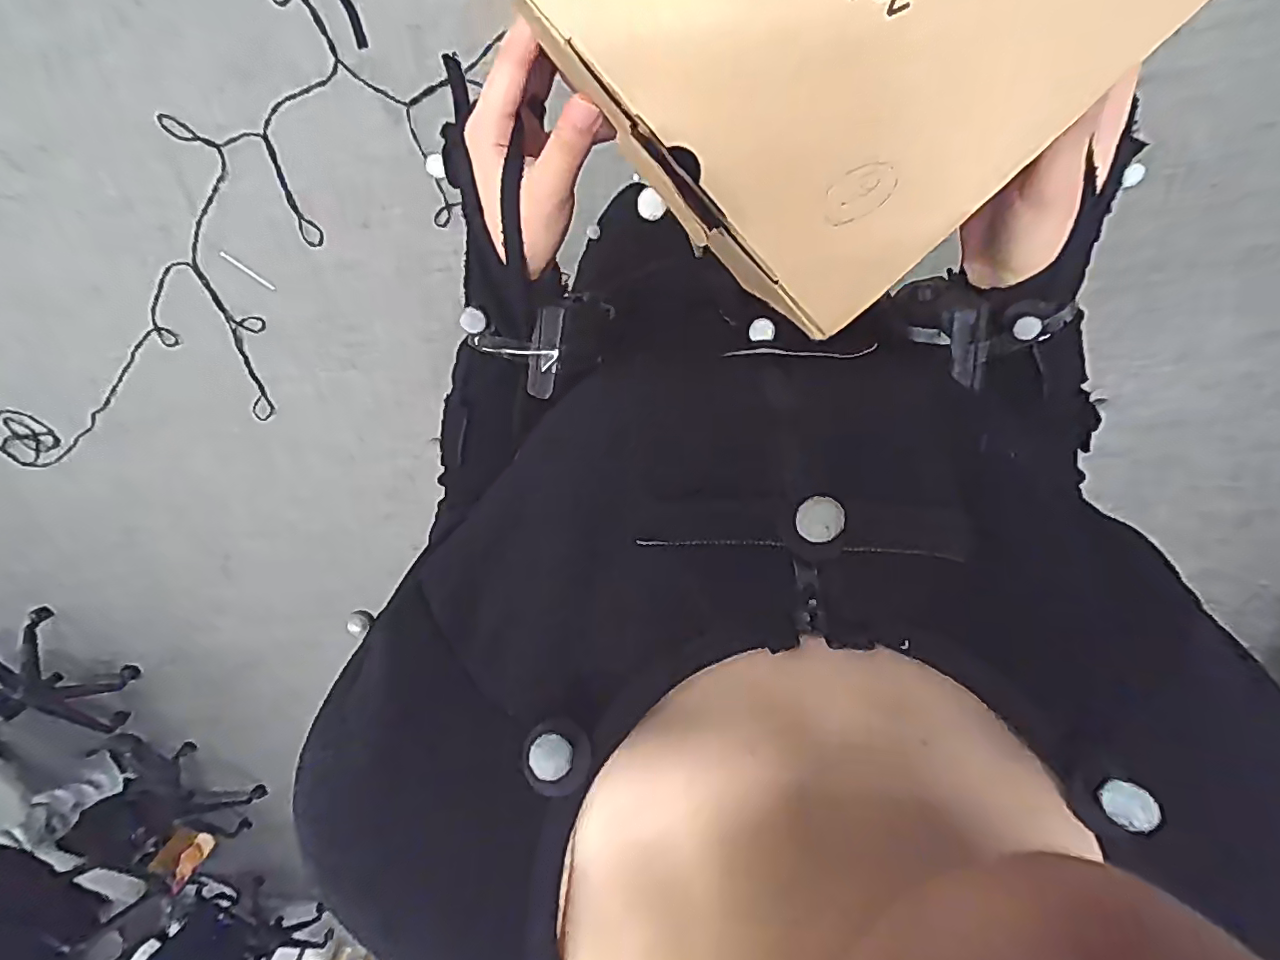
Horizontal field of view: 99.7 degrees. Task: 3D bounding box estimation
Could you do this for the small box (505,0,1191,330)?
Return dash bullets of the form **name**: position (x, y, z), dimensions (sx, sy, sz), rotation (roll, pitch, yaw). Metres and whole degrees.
- **small box**: position (0.072, -0.199, 0.237), dimensions (0.168, 0.176, 0.179), rotation (42, 111, -18)
